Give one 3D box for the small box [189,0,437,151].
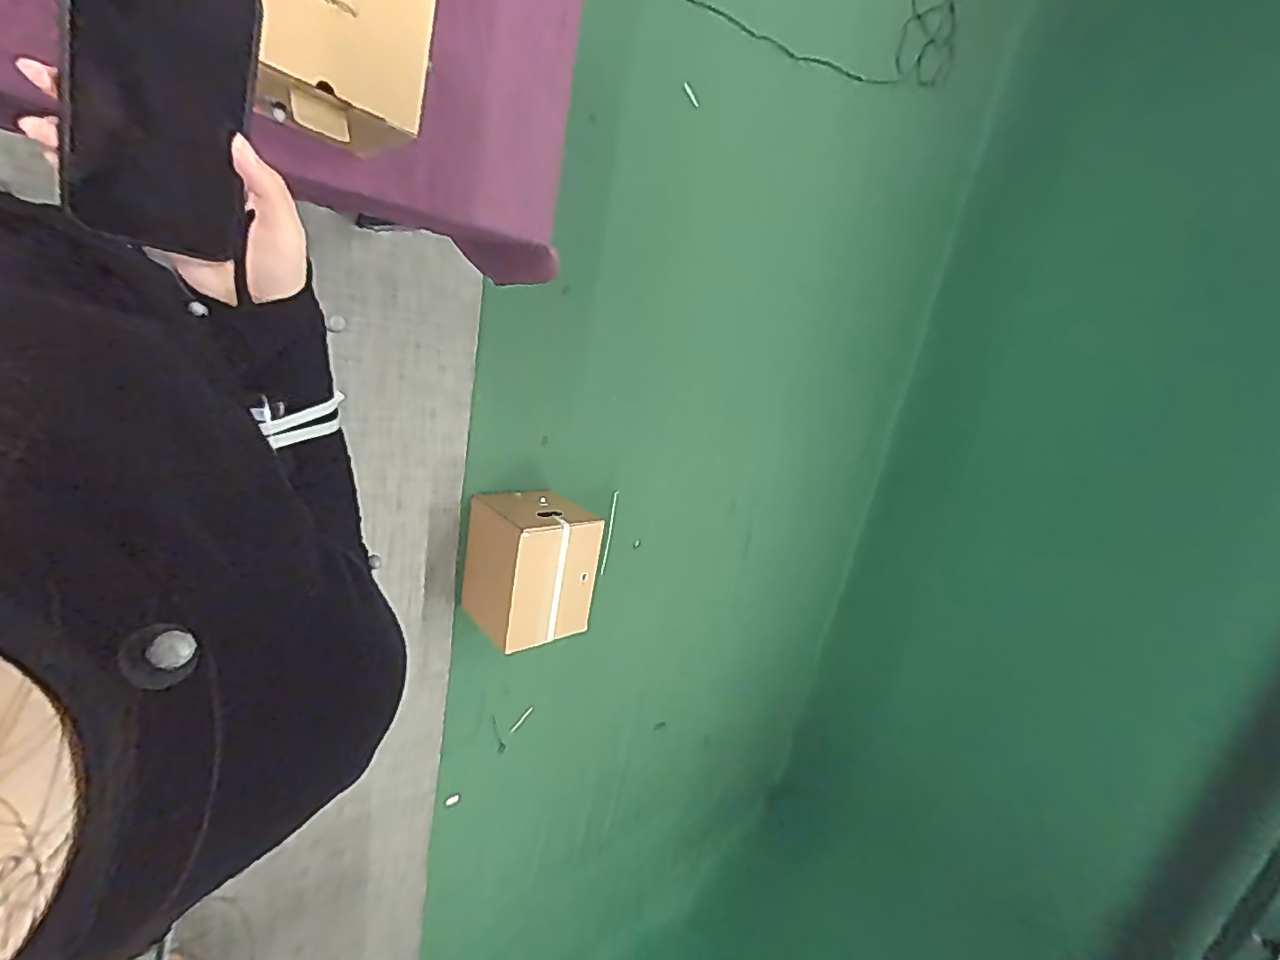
[{"bbox_3d":[-0.312,-0.444,0.513,0.168,0.176,0.179,1,108,-45],"label":"small box"}]
